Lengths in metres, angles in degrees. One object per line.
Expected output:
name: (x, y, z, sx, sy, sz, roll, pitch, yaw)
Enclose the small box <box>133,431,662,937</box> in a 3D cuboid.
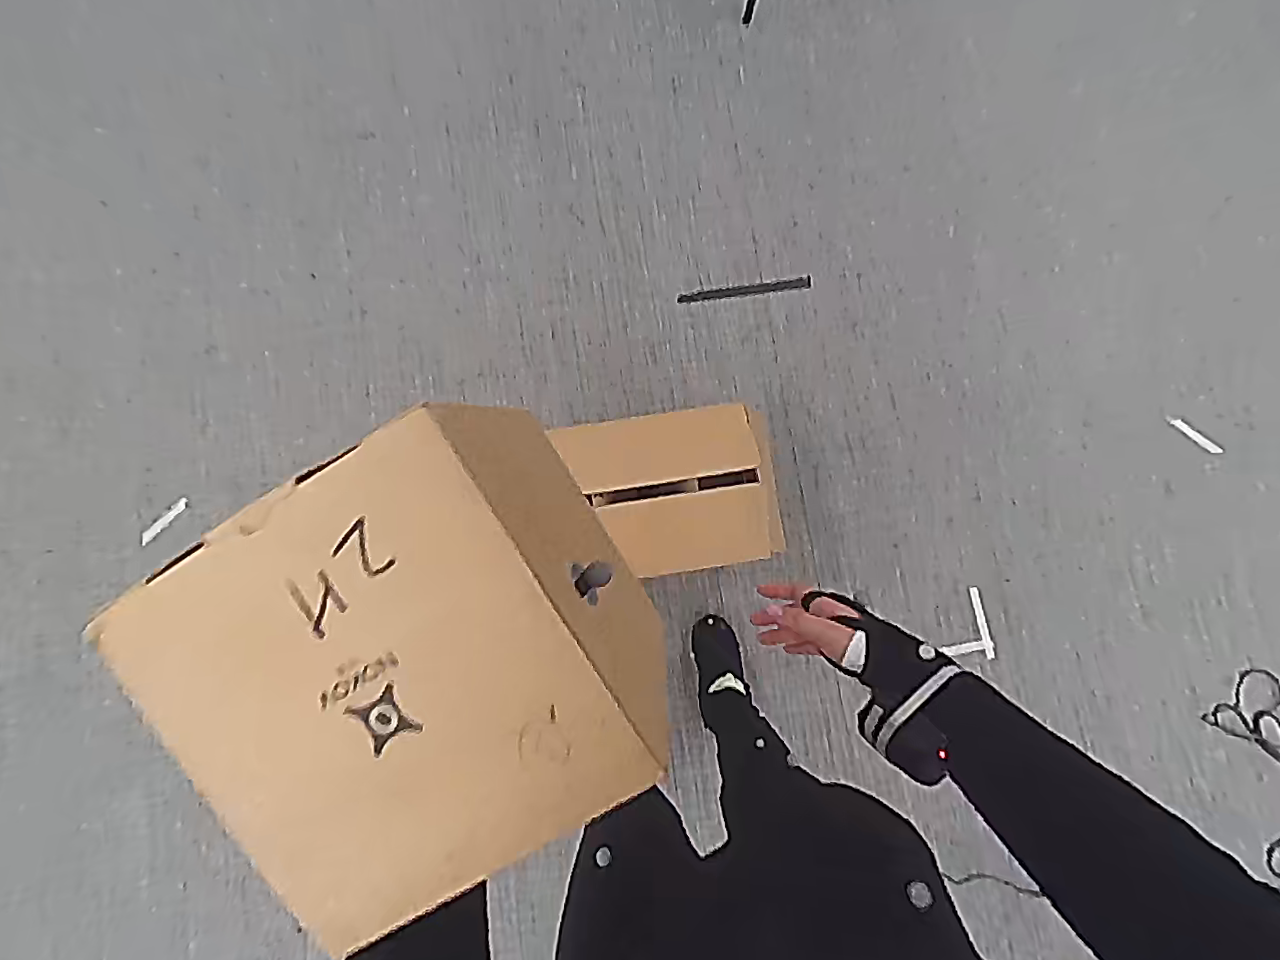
small box: (-0.099, 0.083, 0.308, 0.168, 0.176, 0.179, -32, 94, 4)
